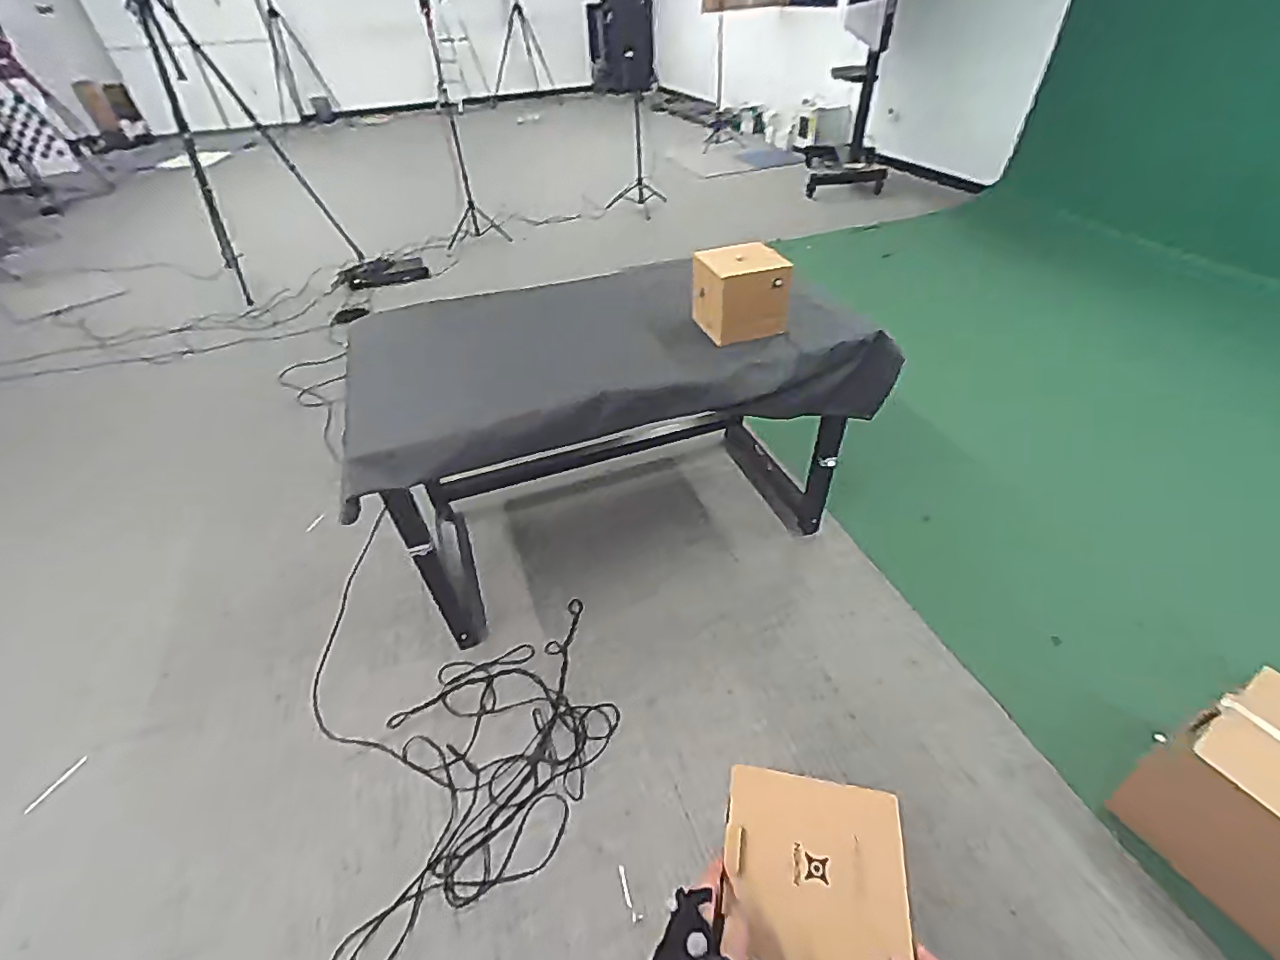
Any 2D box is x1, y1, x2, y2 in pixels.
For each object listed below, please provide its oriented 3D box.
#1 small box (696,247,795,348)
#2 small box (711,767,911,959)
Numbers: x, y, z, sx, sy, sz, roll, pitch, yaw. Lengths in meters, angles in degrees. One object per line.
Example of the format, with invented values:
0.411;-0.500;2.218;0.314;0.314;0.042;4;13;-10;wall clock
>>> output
0.243;-0.430;1.282;0.179;0.176;0.168;-14;43;-12;small box
0.171;0.437;0.585;0.179;0.176;0.168;5;47;10;small box
